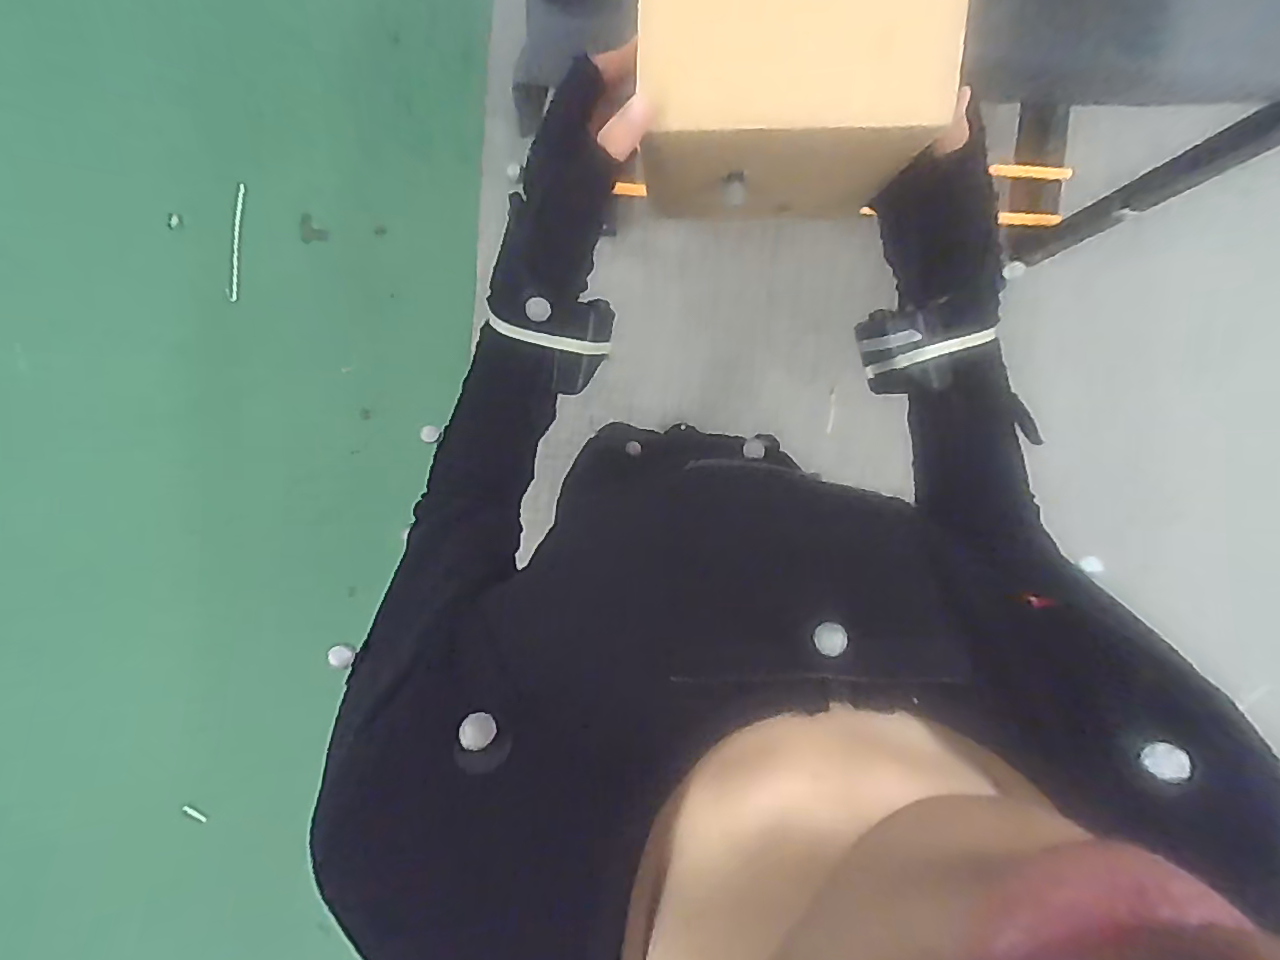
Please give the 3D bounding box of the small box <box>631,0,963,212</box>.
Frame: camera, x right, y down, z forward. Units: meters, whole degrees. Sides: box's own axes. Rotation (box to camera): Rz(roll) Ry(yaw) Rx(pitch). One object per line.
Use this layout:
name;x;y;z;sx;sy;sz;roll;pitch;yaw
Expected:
small box;0.085;-0.284;0.345;0.168;0.176;0.179;2;100;4
